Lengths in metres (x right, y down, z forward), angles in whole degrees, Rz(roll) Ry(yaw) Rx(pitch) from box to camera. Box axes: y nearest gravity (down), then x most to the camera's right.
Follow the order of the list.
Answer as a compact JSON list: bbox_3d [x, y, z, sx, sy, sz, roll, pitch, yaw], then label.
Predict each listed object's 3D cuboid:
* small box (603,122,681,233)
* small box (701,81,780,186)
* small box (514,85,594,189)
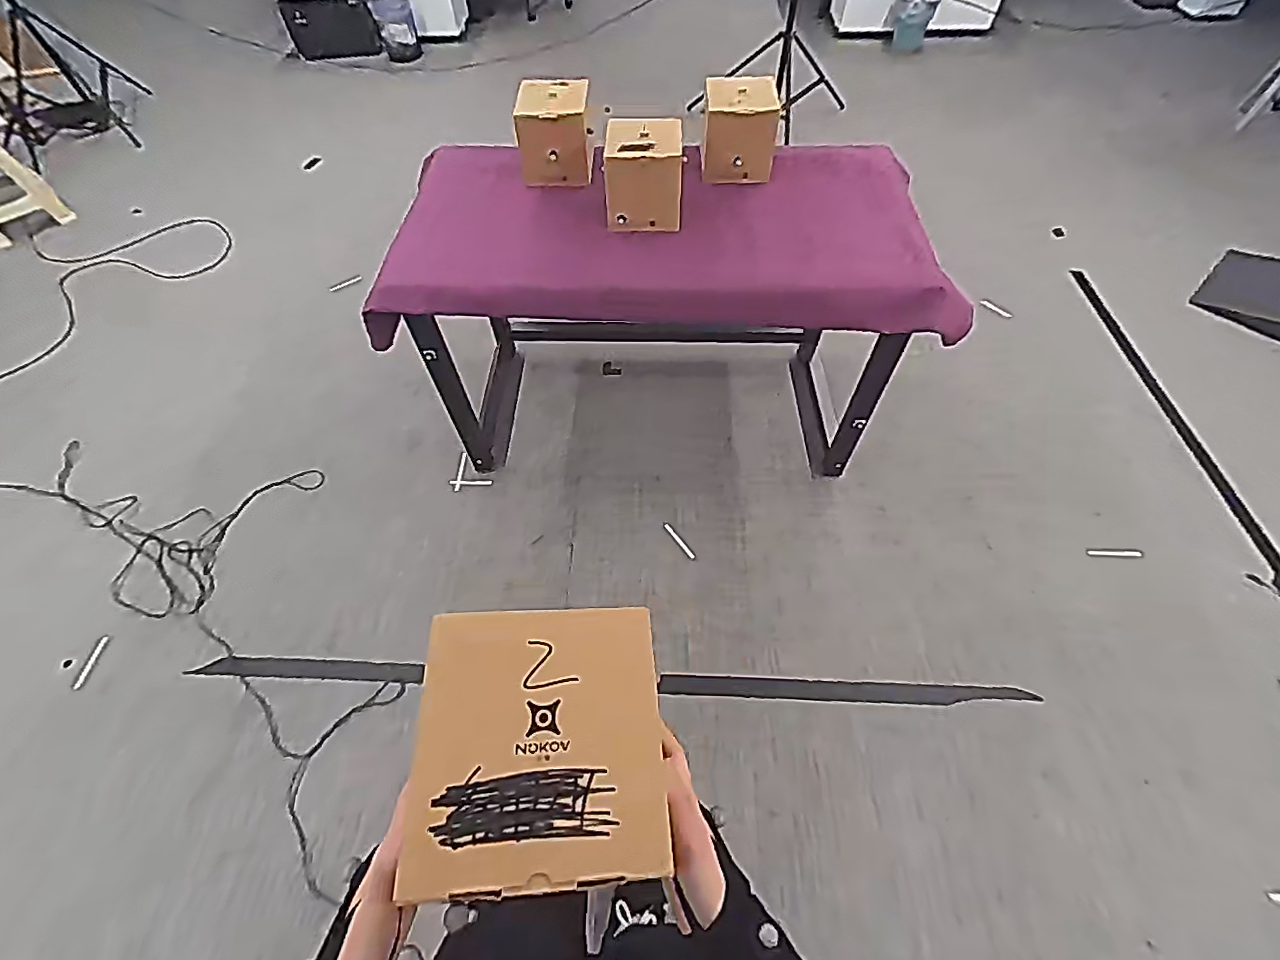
[{"bbox_3d":[0.010,-0.688,1.239,0.168,0.176,0.179,1,56,2],"label":"small box"},{"bbox_3d":[0.241,-0.859,1.344,0.168,0.176,0.179,0,58,2],"label":"small box"},{"bbox_3d":[-0.207,-0.851,1.350,0.168,0.176,0.179,0,59,1],"label":"small box"}]
